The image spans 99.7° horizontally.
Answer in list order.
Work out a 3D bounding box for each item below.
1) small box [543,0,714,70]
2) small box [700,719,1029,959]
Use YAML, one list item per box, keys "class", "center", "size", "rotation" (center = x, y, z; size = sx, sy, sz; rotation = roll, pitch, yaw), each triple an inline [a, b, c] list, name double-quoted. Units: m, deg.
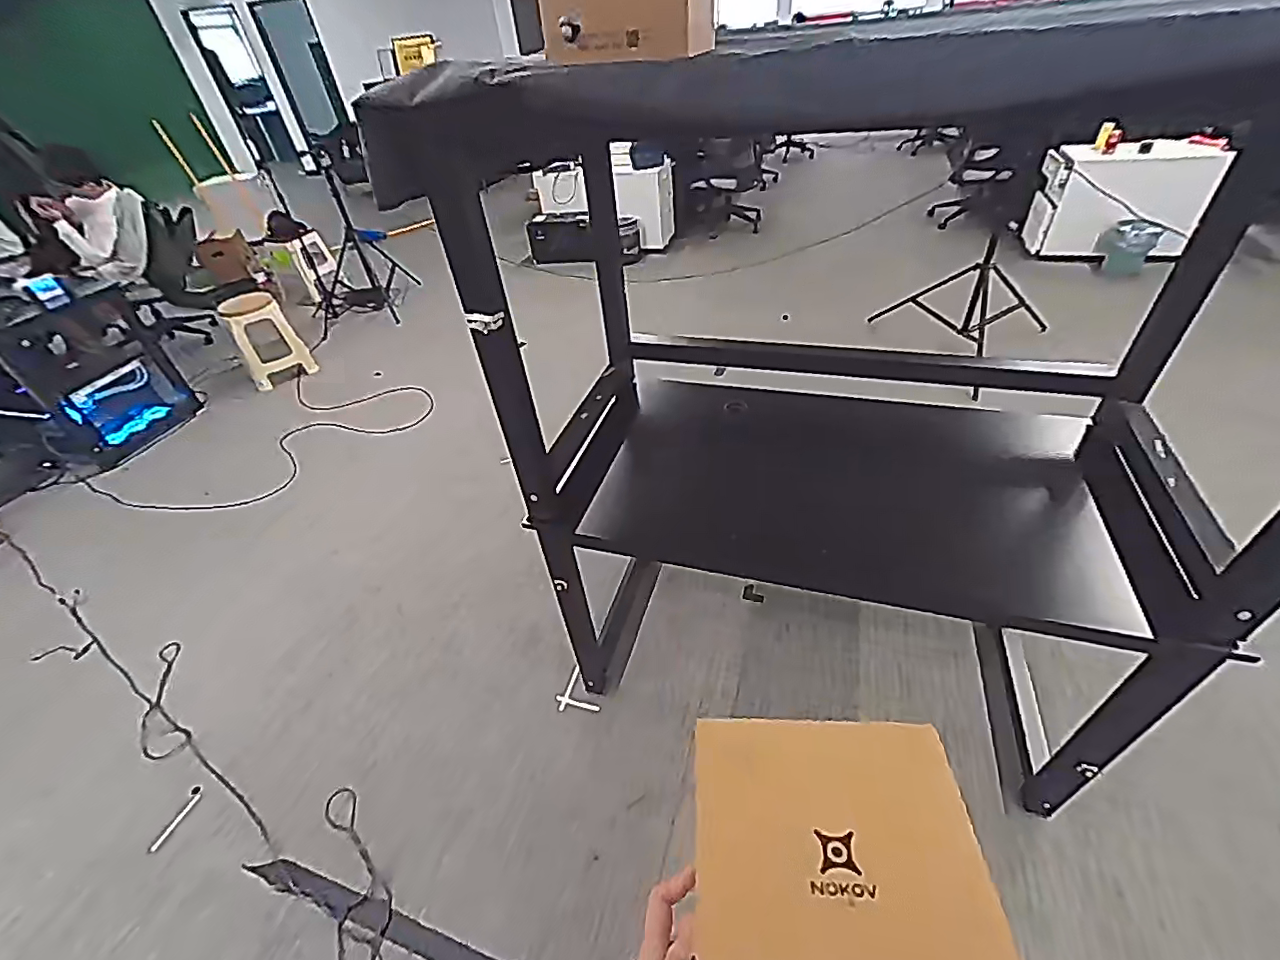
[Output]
- class: "small box"
  center: [-0.009, -0.571, 0.606]
  size: [0.168, 0.176, 0.179]
  rotation: [7, 40, 14]
- class: "small box"
  center: [0.123, 0.287, 0.356]
  size: [0.168, 0.176, 0.179]
  rotation: [-1, 35, 6]
